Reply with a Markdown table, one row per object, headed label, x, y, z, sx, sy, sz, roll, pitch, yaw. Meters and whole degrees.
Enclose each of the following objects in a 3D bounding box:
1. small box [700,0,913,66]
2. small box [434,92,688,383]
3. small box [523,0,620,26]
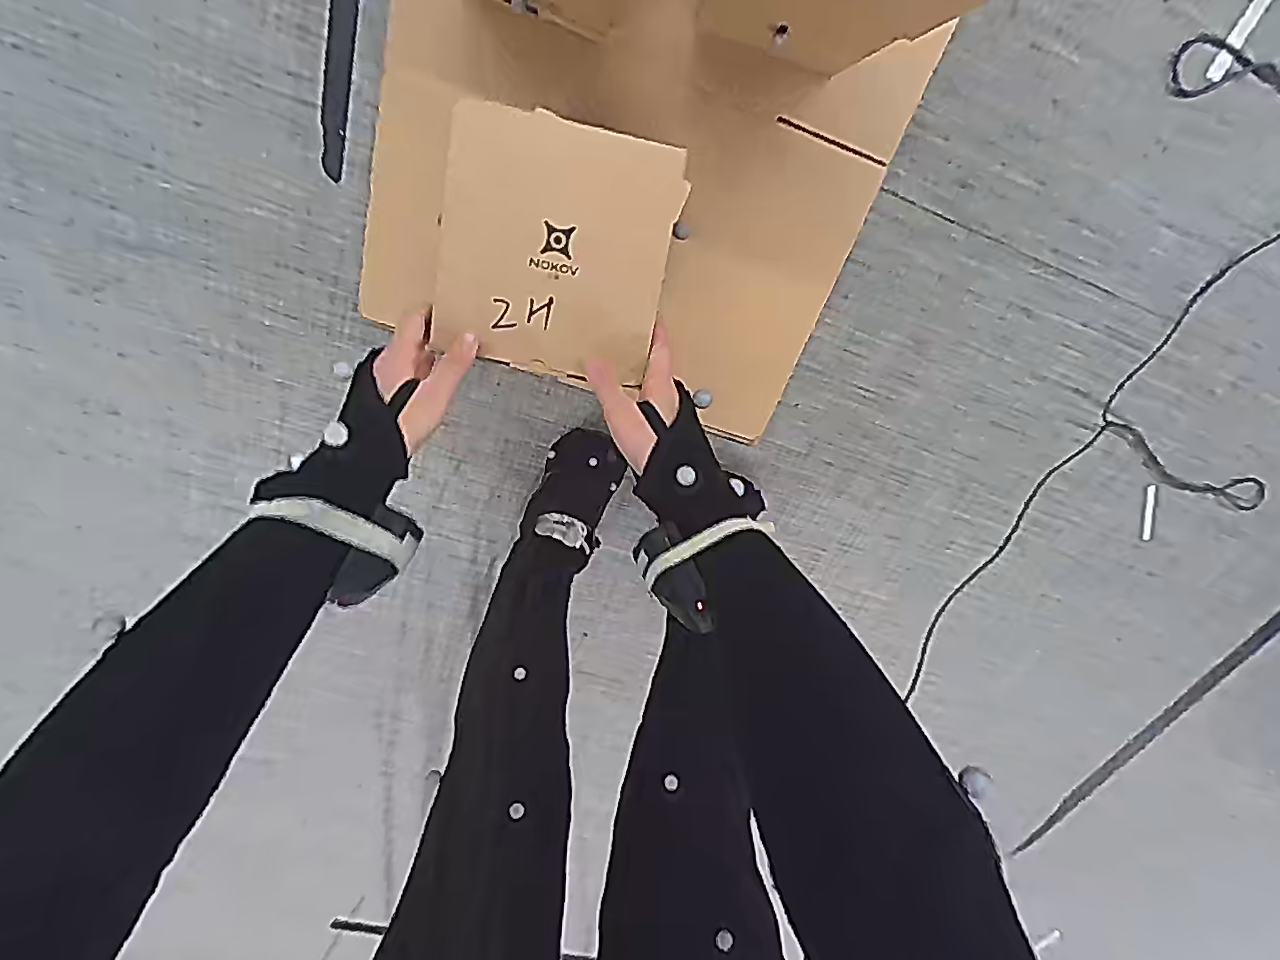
| label | x | y | z | sx | sy | sz | roll | pitch | yaw |
| --- | --- | --- | --- | --- | --- | --- | --- | --- | --- |
| small box | 0.171 | -0.528 | 0.517 | 0.179 | 0.176 | 0.168 | 13 | 116 | -8 |
| small box | -0.064 | -0.184 | 0.469 | 0.168 | 0.176 | 0.179 | 8 | 100 | -5 |
| small box | -0.085 | -0.563 | 0.488 | 0.168 | 0.176 | 0.179 | 12 | 116 | -6 |
